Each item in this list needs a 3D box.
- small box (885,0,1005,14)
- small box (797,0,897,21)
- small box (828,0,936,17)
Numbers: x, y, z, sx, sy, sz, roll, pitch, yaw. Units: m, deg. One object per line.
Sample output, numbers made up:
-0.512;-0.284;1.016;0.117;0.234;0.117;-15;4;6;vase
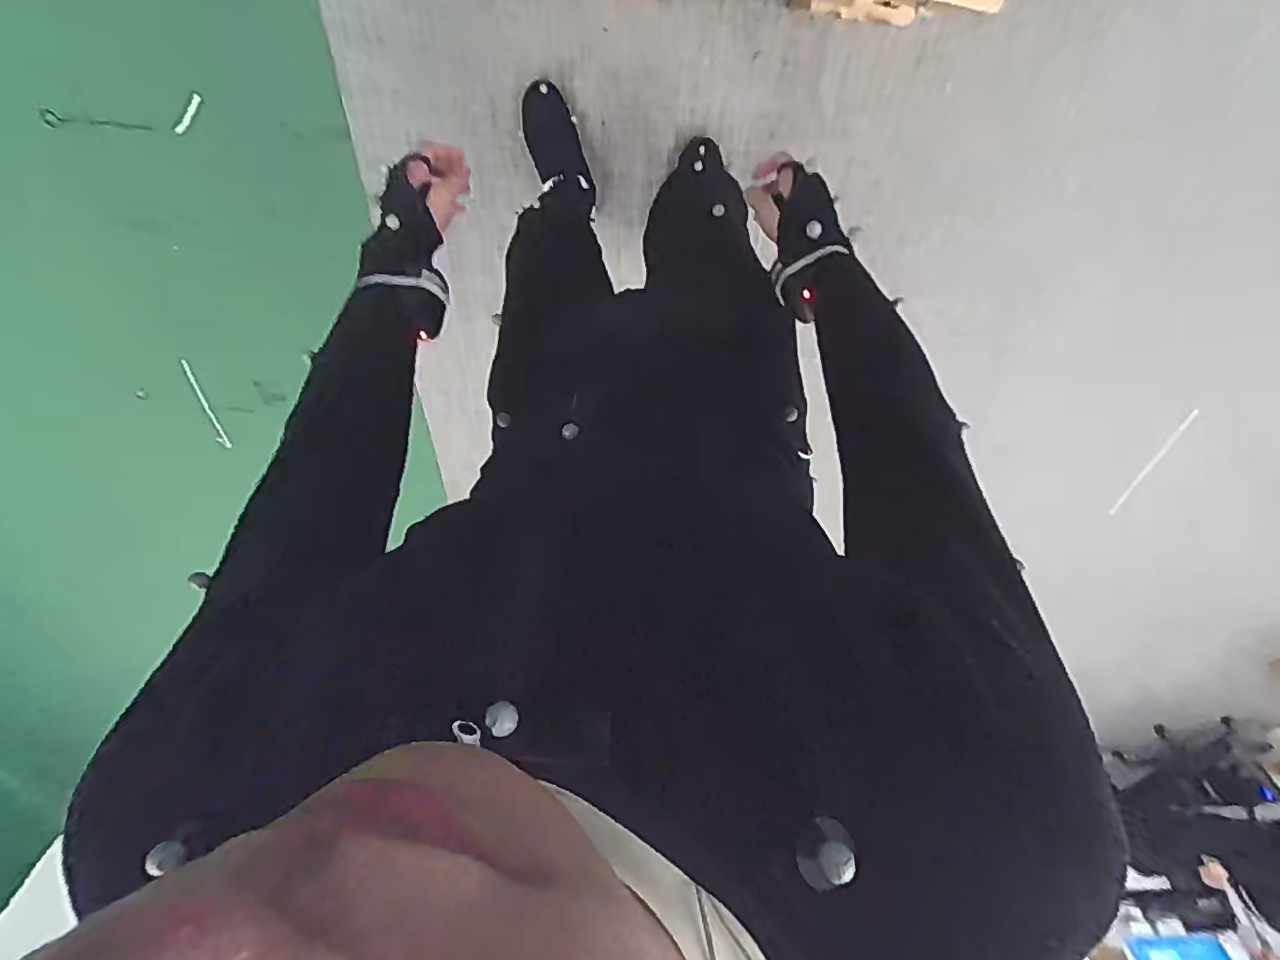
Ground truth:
0.412;-0.752;0.729;0.179;0.176;0.168;6;131;-7;small box
0.395;-0.961;0.981;0.168;0.176;0.179;2;132;-5;small box
0.401;-0.861;0.851;0.168;0.176;0.179;7;130;-7;small box
